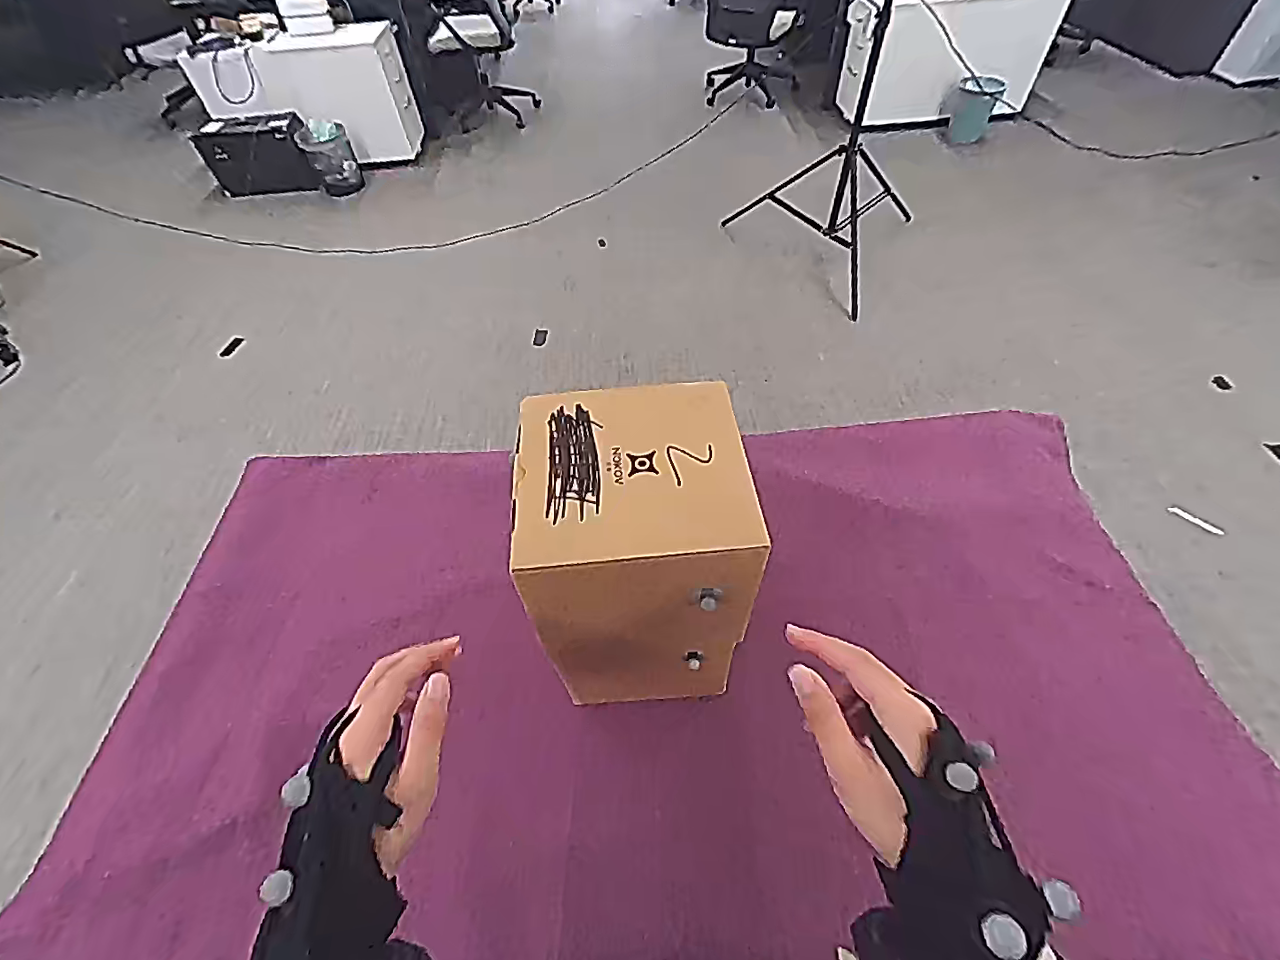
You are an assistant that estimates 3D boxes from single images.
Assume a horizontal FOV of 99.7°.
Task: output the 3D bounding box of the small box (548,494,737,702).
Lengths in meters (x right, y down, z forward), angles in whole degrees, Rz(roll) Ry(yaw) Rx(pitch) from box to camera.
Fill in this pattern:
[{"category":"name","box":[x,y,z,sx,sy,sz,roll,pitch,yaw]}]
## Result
[{"category":"small box","box":[0.002,0.135,0.600,0.179,0.176,0.168,-4,52,-1]}]
